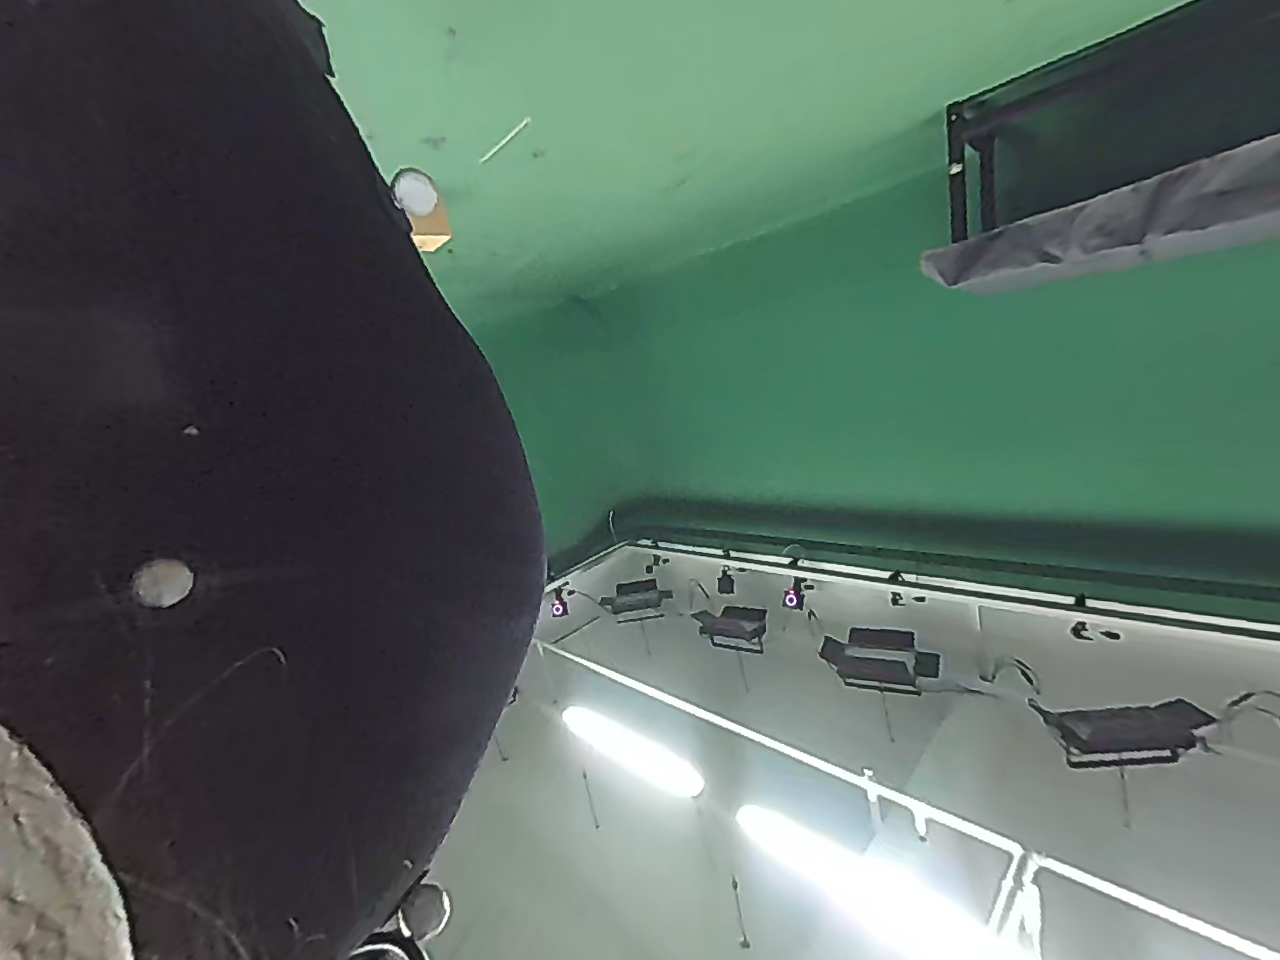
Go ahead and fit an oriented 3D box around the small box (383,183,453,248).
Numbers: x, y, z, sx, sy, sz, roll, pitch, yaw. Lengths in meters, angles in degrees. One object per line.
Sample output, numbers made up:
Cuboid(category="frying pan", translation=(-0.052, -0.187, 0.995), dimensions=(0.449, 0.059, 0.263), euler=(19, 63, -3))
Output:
Cuboid(category="small box", translation=(-0.813, -0.957, 1.967), dimensions=(0.179, 0.176, 0.168), euler=(0, -162, 46))
